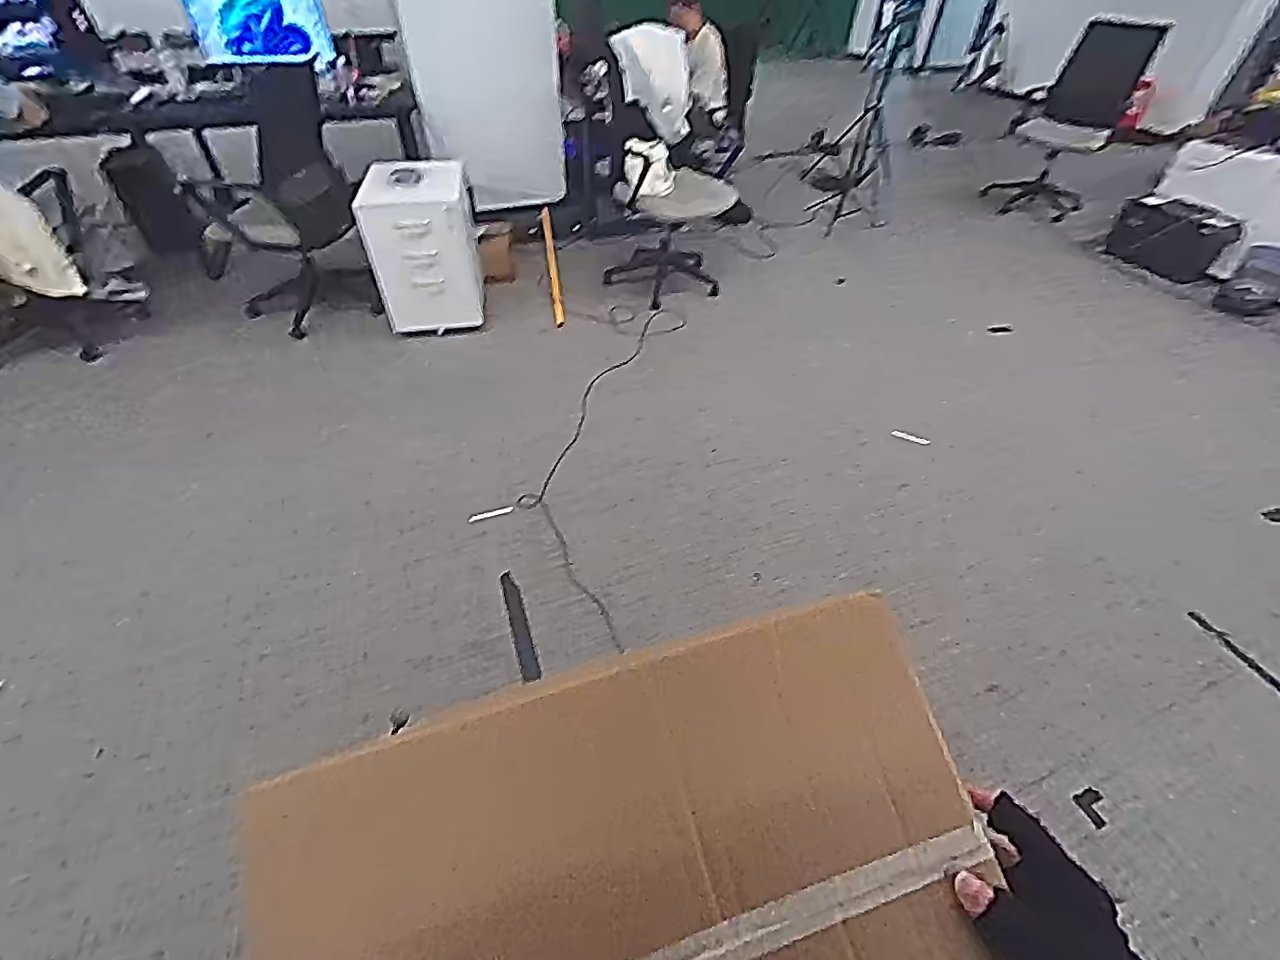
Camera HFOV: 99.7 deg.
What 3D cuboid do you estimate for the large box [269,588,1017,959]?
[{"bbox_3d":[0.001,0.313,0.450,0.408,0.320,0.320,-15,75,-9],"label":"large box"}]
